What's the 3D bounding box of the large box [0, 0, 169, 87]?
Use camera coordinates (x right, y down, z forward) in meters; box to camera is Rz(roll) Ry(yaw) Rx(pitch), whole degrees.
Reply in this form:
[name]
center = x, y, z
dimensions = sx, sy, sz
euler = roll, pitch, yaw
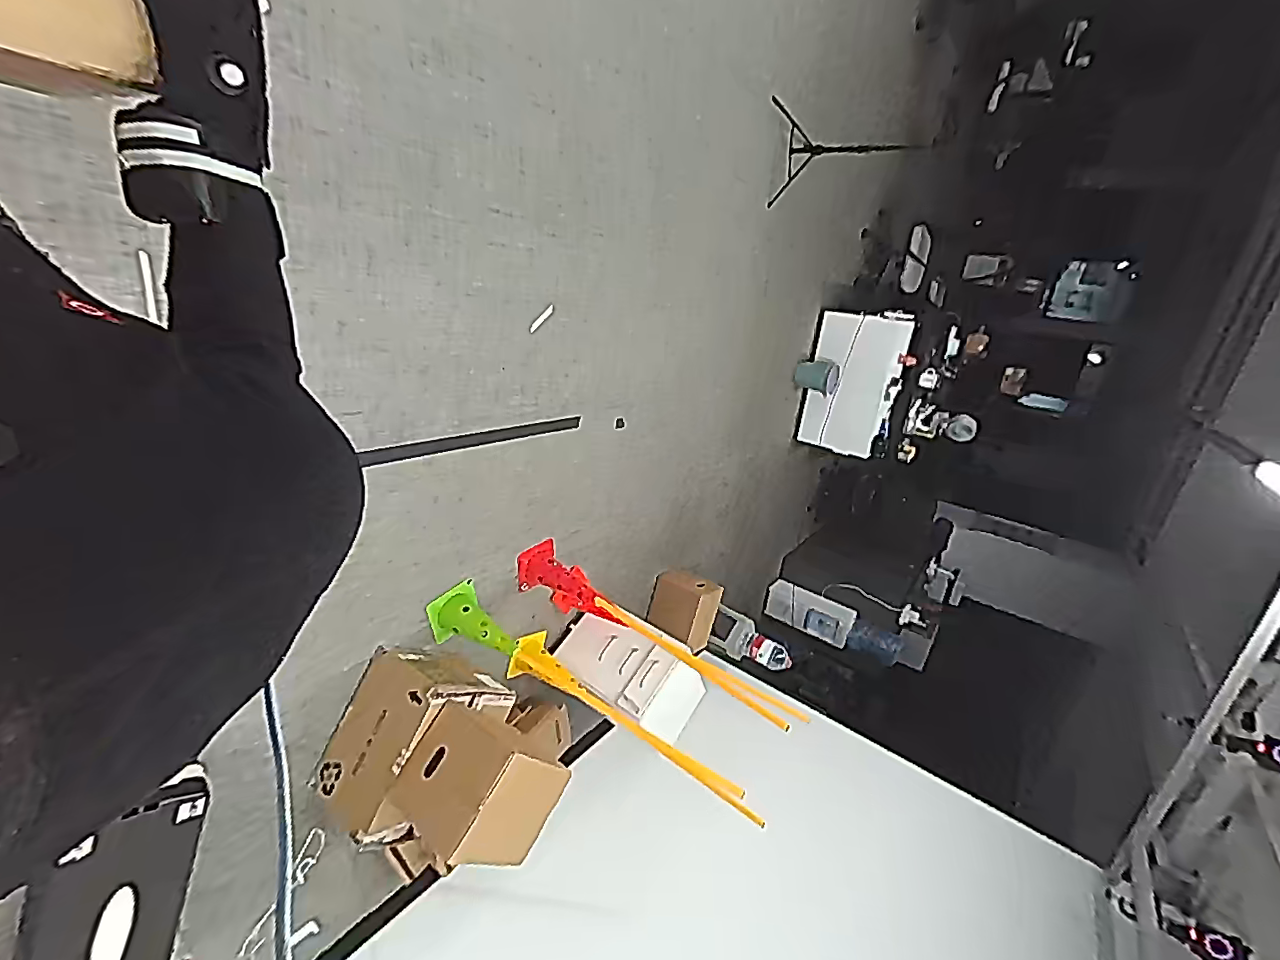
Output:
[large box]
center = -0.546, -0.438, 0.256
dimensions = 0.408, 0.320, 0.320
euler = -17, 126, -52
